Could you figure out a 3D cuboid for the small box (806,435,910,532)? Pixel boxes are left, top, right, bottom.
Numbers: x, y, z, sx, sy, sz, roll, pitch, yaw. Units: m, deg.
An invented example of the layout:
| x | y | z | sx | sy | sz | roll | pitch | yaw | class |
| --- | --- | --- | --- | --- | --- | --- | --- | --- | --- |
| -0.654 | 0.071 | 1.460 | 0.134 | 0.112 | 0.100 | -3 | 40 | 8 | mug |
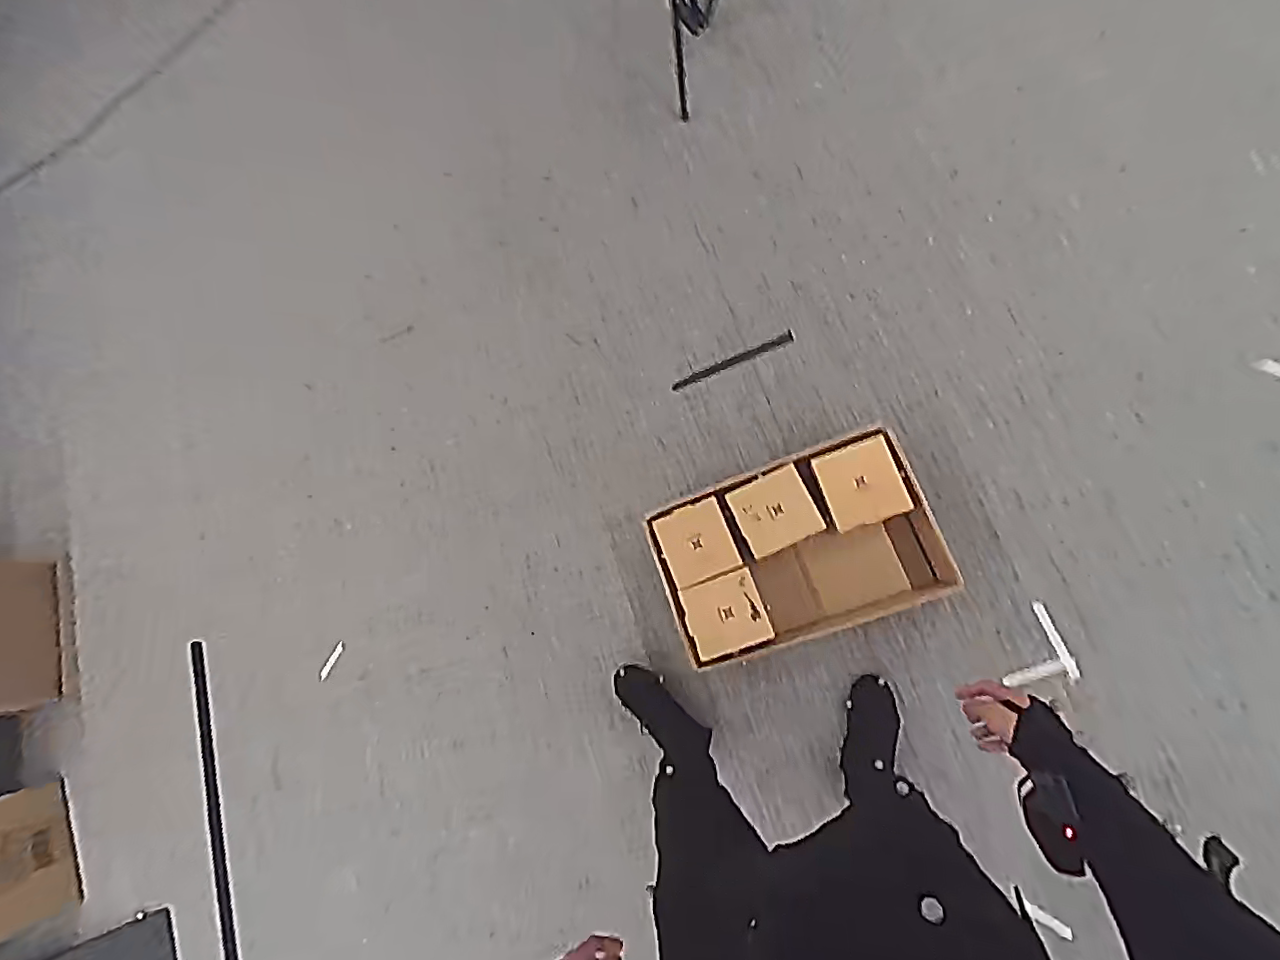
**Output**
| x | y | z | sx | sy | sz | roll | pitch | yaw | class |
| --- | --- | --- | --- | --- | --- | --- | --- | --- | --- |
| 0.501 | 0.016 | 1.271 | 0.168 | 0.176 | 0.179 | -22 | 79 | 11 | small box |
